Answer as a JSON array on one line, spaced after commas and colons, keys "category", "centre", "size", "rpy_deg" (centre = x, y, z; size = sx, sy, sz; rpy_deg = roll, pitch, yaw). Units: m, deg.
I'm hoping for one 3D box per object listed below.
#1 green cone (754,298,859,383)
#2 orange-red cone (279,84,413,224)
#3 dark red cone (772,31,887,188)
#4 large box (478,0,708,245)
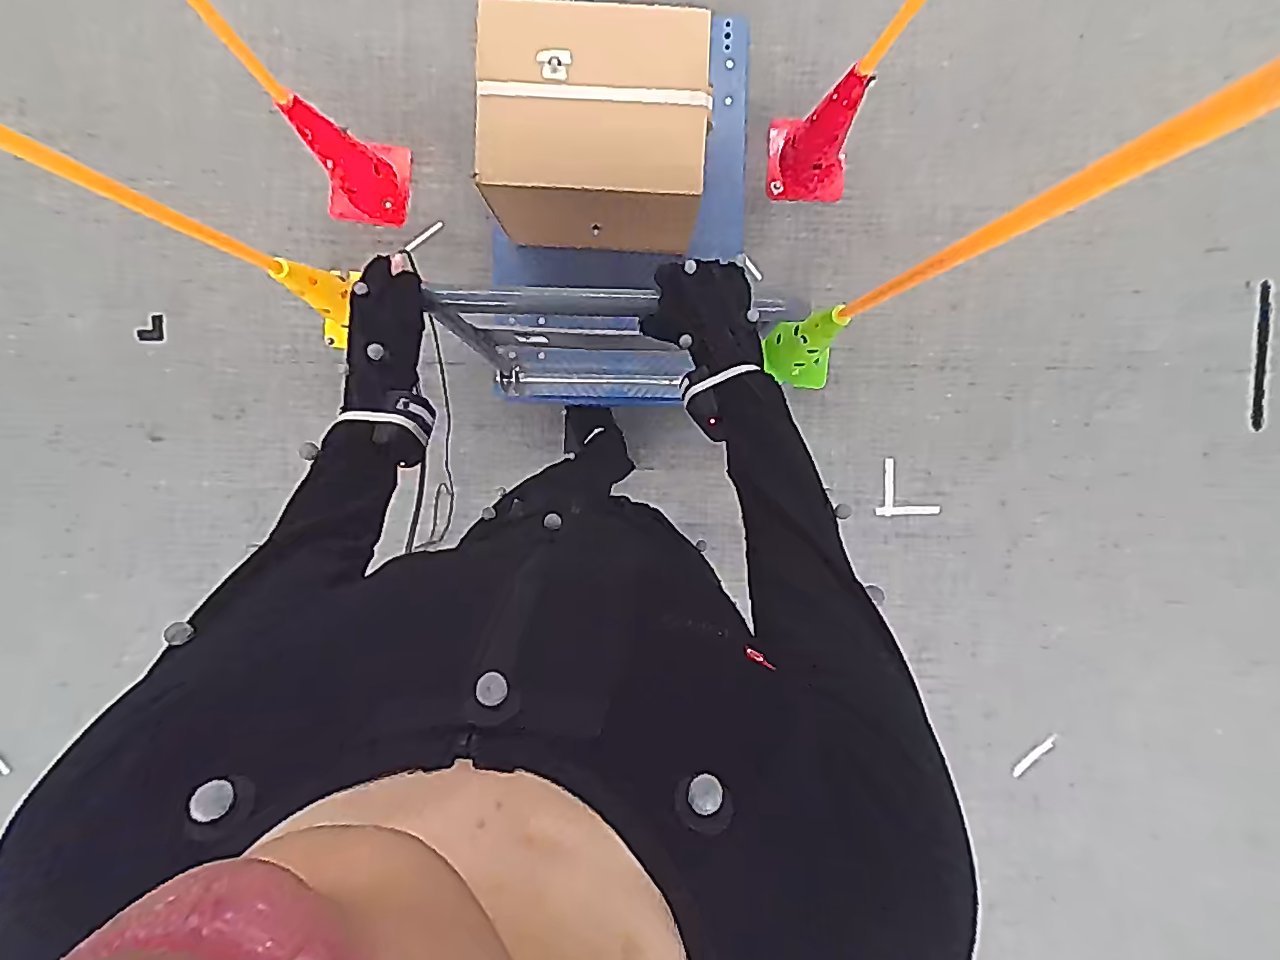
[{"category": "green cone", "centre": [0.410, -0.352, 1.260], "size": [0.202, 0.368, 0.200], "rpy_deg": [5, 94, -2]}, {"category": "orange-red cone", "centre": [-0.693, -0.768, 1.232], "size": [0.198, 0.360, 0.199], "rpy_deg": [9, 92, -2]}, {"category": "dark red cone", "centre": [0.439, -0.834, 1.209], "size": [0.201, 0.394, 0.202], "rpy_deg": [1, 94, -2]}, {"category": "large box", "centre": [-0.081, -0.685, 1.092], "size": [0.408, 0.320, 0.320], "rpy_deg": [3, 94, 1]}]
